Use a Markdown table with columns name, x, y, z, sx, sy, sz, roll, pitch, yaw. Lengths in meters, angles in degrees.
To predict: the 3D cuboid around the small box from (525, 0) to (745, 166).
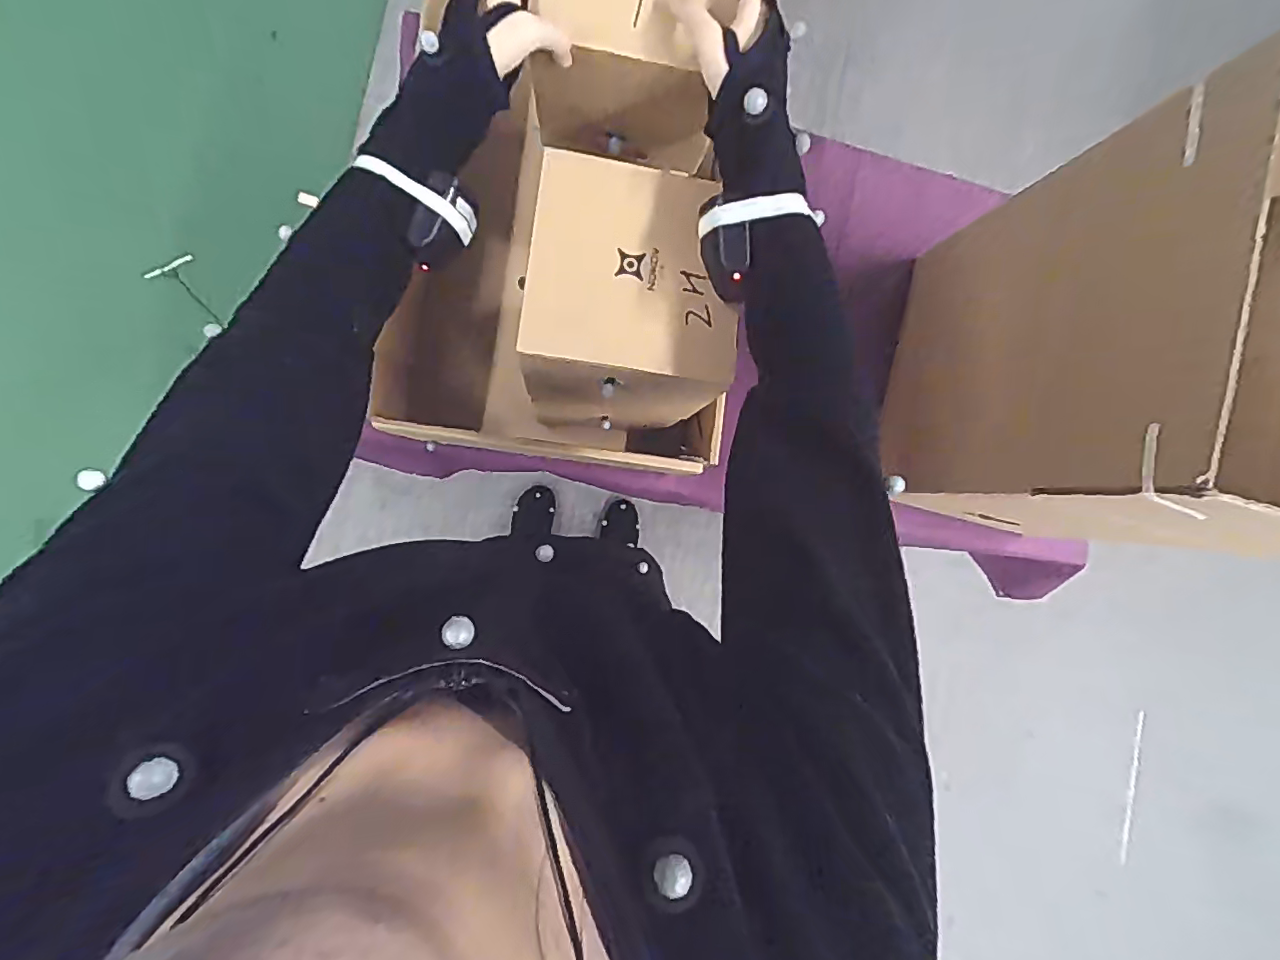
| name | x | y | z | sx | sy | sz | roll | pitch | yaw |
| --- | --- | --- | --- | --- | --- | --- | --- | --- | --- |
| small box | -0.004 | -0.419 | 0.480 | 0.168 | 0.176 | 0.179 | 7 | 97 | -7 |

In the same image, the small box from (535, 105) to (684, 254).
| name | x | y | z | sx | sy | sz | roll | pitch | yaw |
| --- | --- | --- | --- | --- | --- | --- | --- | --- | --- |
| small box | -0.036 | -0.406 | 0.676 | 0.168 | 0.176 | 0.179 | 5 | 89 | -8 |
